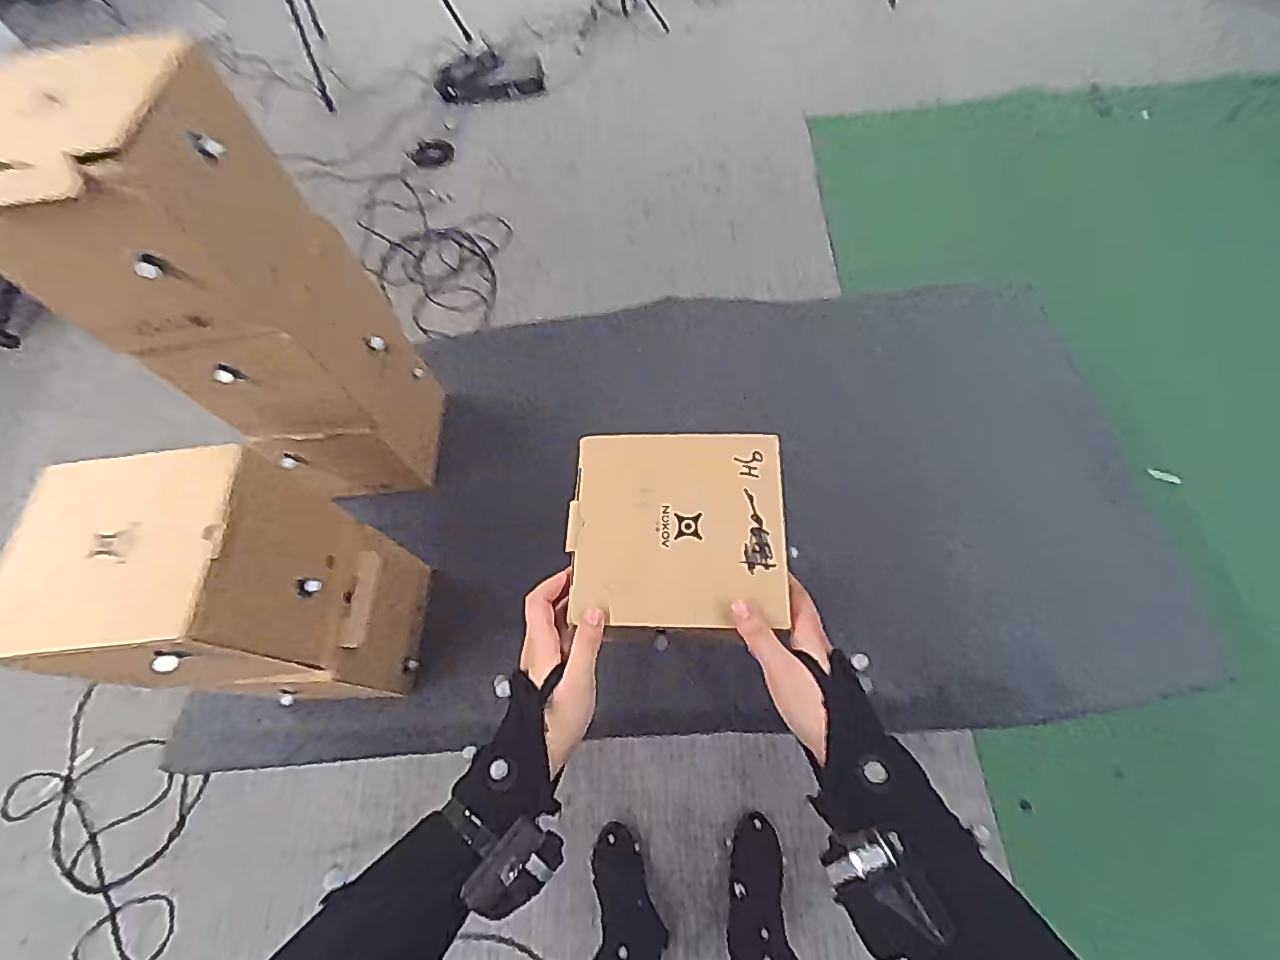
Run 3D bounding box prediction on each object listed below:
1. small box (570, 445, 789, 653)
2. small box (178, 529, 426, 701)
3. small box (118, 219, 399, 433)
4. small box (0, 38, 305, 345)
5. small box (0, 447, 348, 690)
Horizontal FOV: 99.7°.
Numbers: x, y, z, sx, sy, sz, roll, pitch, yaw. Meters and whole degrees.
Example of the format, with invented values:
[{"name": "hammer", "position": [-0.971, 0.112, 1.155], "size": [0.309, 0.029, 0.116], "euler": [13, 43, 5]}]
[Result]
[{"name": "small box", "position": [0.041, 0.075, 0.527], "size": [0.179, 0.176, 0.168], "euler": [0, 68, 6]}, {"name": "small box", "position": [-0.376, 0.164, 0.635], "size": [0.179, 0.176, 0.168], "euler": [-3, 63, 4]}, {"name": "small box", "position": [-0.409, -0.165, 0.618], "size": [0.179, 0.176, 0.168], "euler": [-4, 64, 3]}, {"name": "small box", "position": [-0.430, -0.236, 0.473], "size": [0.168, 0.176, 0.179], "euler": [-7, 62, 1]}, {"name": "small box", "position": [-0.405, 0.090, 0.493], "size": [0.179, 0.176, 0.168], "euler": [-7, 63, 2]}]
